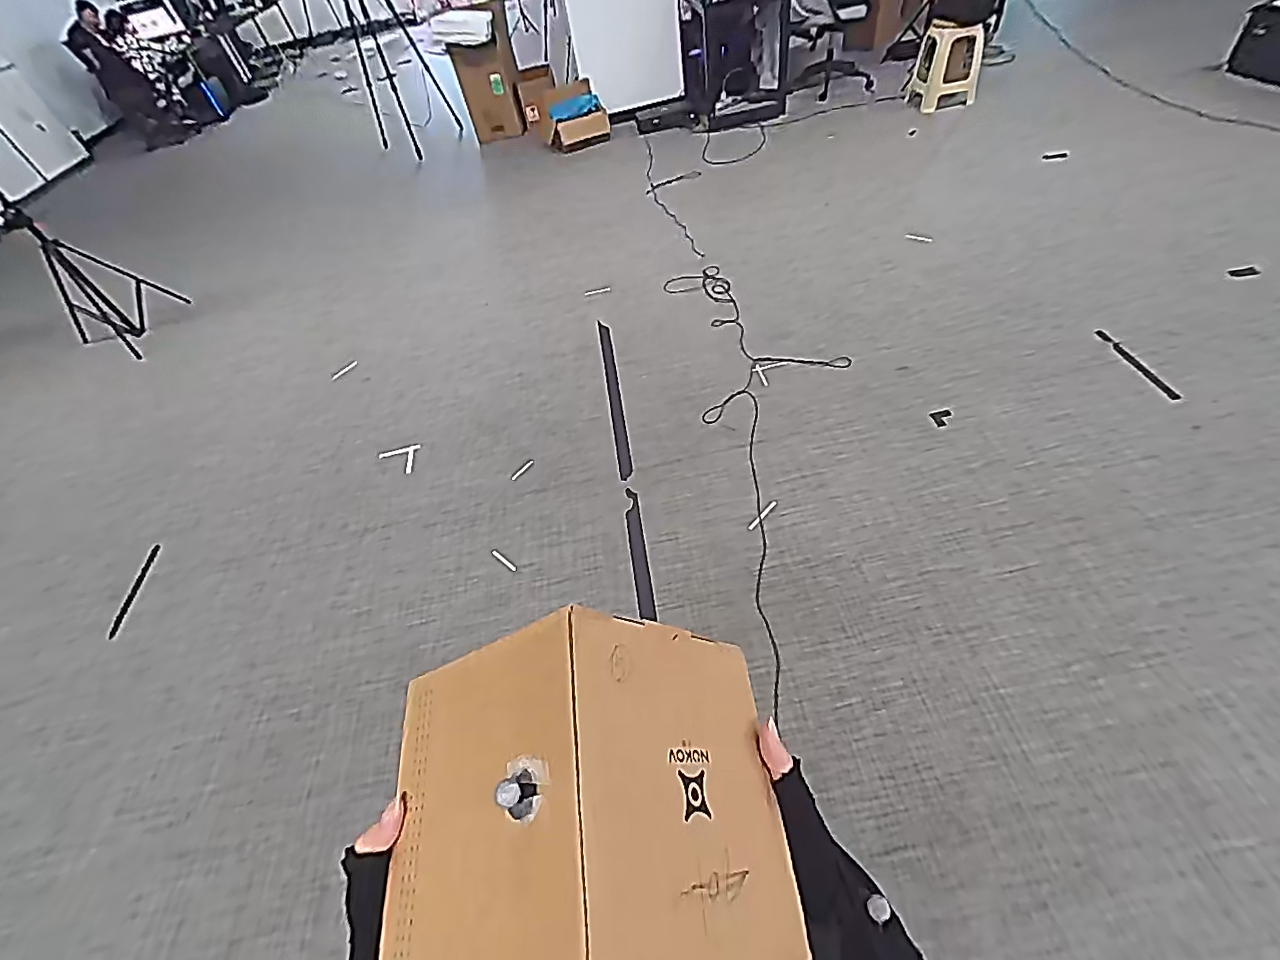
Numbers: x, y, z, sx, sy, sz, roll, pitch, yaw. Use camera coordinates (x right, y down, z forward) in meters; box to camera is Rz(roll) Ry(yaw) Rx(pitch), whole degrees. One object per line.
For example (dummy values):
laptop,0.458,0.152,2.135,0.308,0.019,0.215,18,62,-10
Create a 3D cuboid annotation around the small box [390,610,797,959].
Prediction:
small box,-0.034,0.206,0.342,0.176,0.168,0.179,-31,49,31
